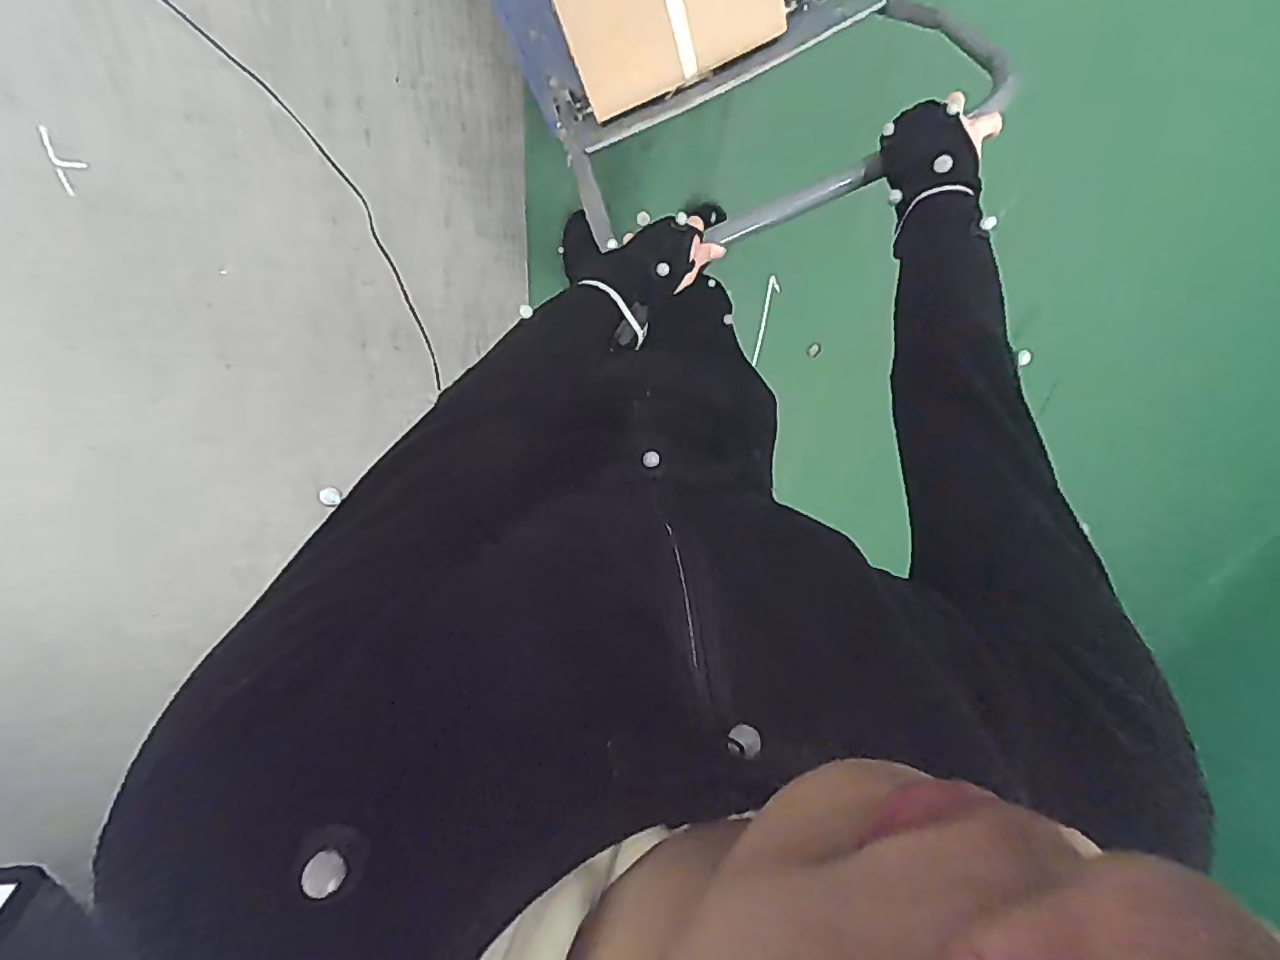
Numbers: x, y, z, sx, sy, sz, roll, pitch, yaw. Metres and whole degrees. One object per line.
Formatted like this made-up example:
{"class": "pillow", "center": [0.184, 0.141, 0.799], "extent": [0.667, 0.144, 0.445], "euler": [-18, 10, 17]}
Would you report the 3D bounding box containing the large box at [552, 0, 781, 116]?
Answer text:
{"class": "large box", "center": [-0.016, -0.863, 0.824], "extent": [0.320, 0.320, 0.408], "euler": [-21, 132, 9]}
